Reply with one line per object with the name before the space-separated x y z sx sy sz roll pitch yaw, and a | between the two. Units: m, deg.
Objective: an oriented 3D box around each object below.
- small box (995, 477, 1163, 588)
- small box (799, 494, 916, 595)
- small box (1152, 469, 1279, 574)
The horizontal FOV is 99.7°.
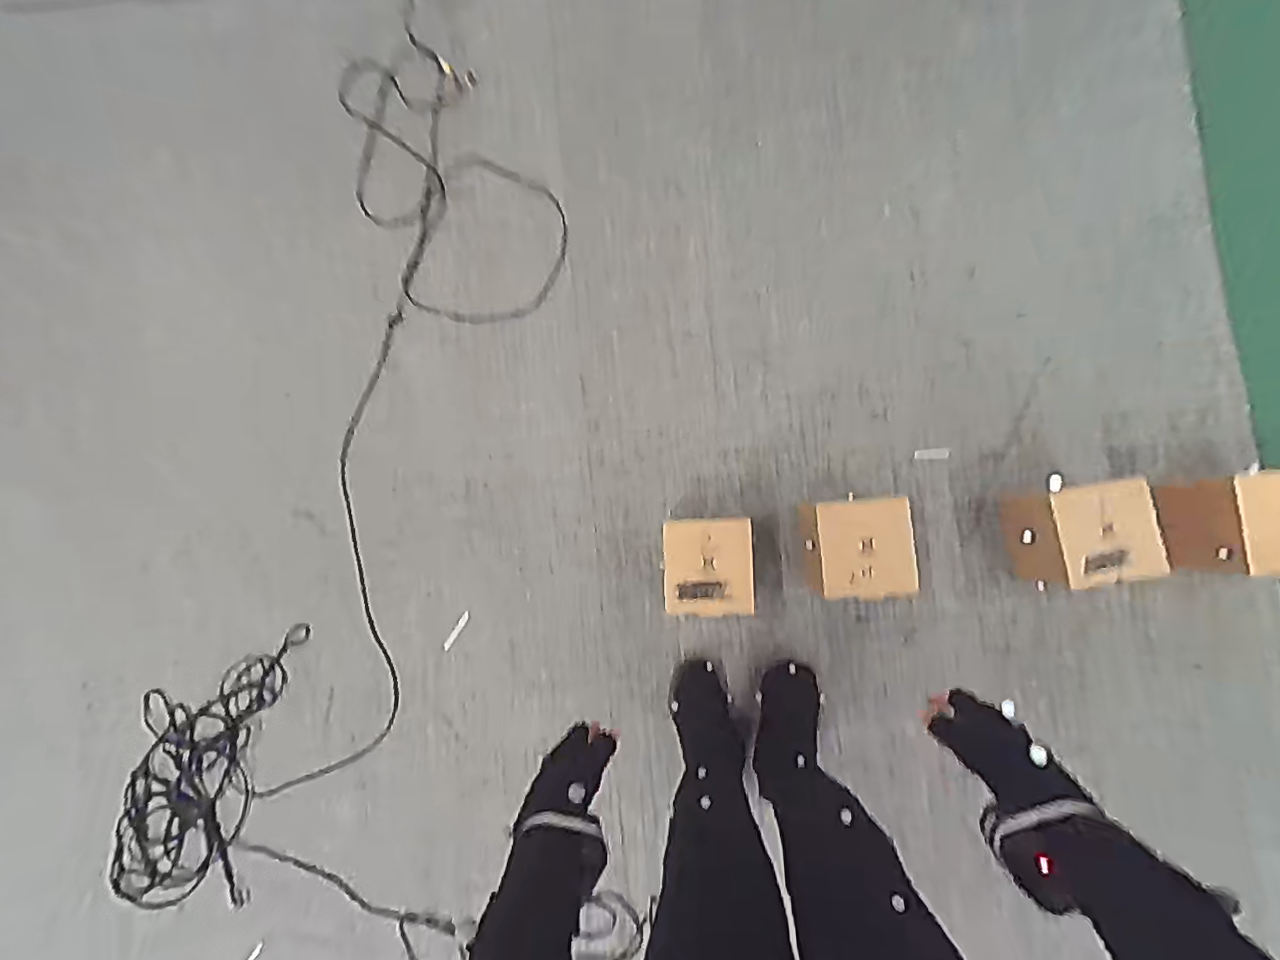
small box | 0.813 0.097 1.021 0.168 0.176 0.179 -10 84 4
small box | 0.413 0.124 1.054 0.168 0.176 0.179 -4 86 6
small box | 1.104 0.075 0.997 0.168 0.176 0.179 -6 85 6
